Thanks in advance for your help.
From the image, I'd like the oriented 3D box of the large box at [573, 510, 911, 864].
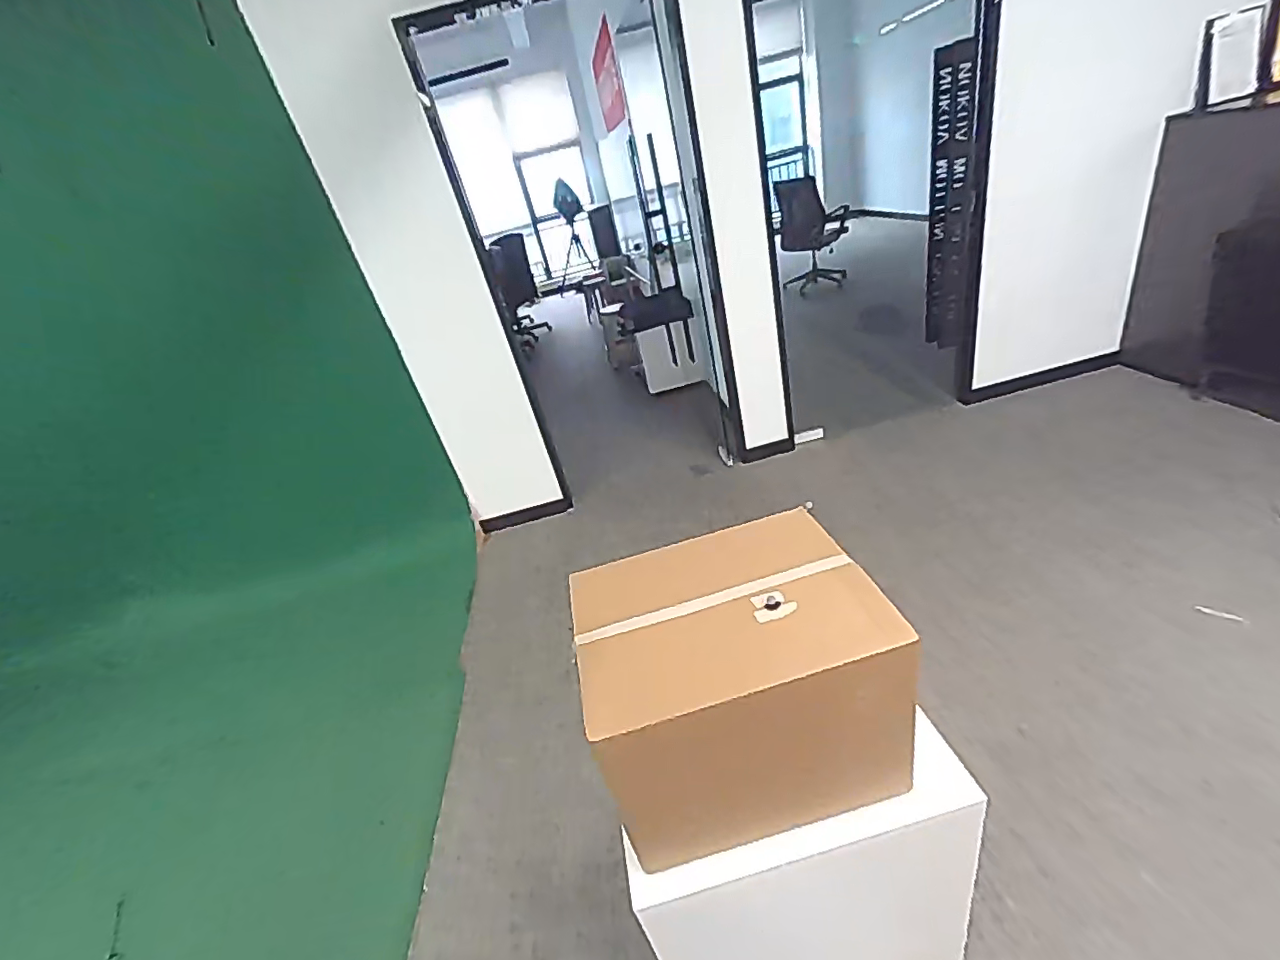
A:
[{"bbox_3d":[0.137,0.297,0.830,0.408,0.320,0.320,-15,30,-4],"label":"large box"}]
